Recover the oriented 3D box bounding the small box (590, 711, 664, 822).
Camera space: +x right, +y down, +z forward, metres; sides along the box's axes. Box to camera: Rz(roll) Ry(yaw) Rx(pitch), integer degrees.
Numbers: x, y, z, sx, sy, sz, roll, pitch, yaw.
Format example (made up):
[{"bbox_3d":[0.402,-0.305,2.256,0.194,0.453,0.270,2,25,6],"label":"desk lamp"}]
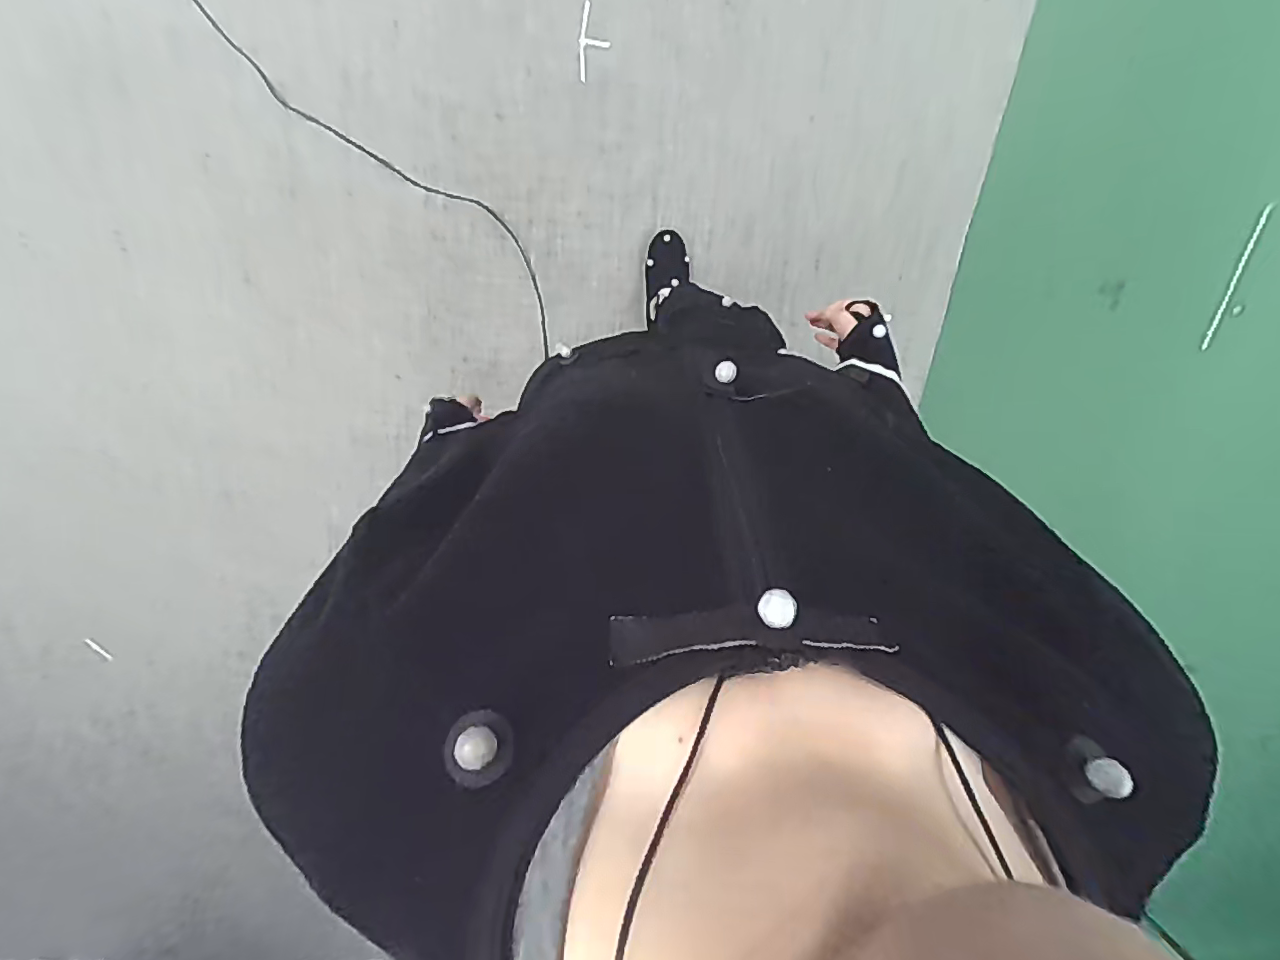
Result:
[{"bbox_3d":[-0.034,0.675,1.289,0.168,0.176,0.179,1,109,-2],"label":"small box"}]
